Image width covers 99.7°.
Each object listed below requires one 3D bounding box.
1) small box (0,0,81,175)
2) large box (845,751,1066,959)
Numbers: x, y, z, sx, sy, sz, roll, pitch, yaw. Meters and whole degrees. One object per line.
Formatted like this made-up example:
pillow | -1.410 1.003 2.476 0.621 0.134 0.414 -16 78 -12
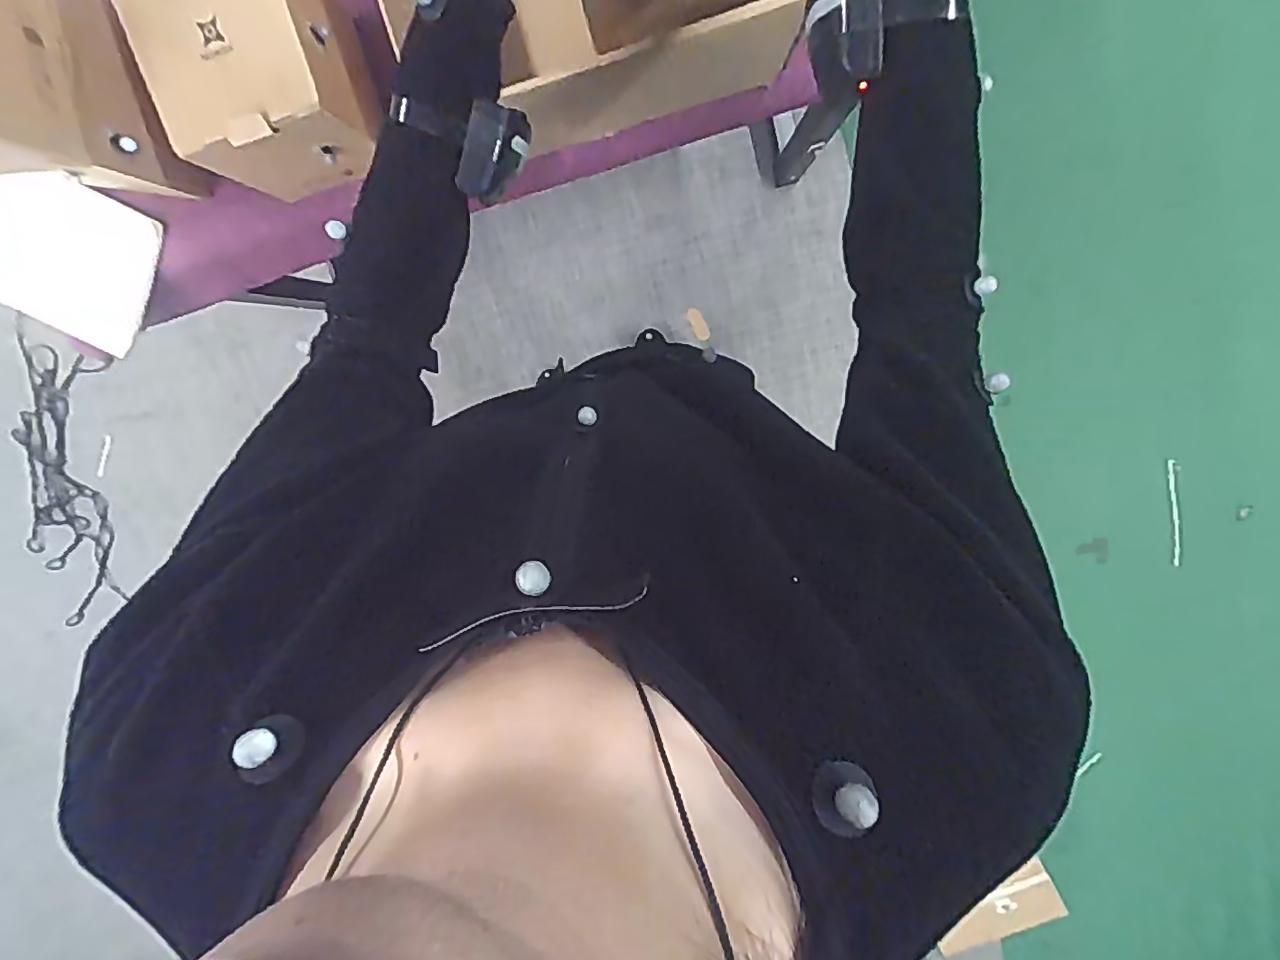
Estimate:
small box | -0.647 -0.377 0.464 0.179 0.176 0.168 -1 104 4
large box | 0.888 1.085 1.576 0.408 0.320 0.320 -30 101 8
